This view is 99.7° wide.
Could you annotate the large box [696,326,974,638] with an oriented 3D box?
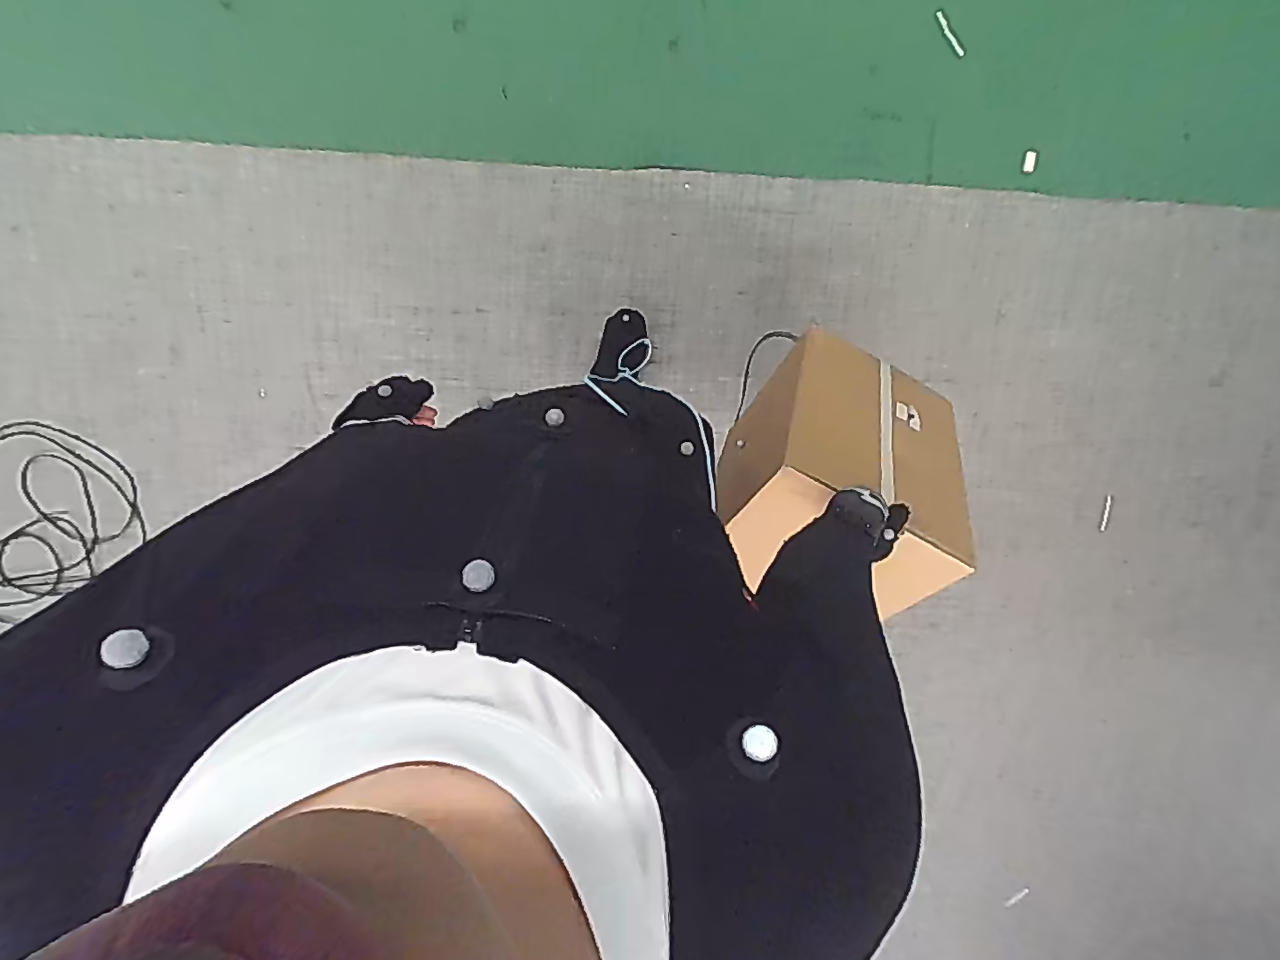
[{"bbox_3d":[0.336,0.003,0.985,0.320,0.408,0.320,29,137,-5],"label":"large box"}]
